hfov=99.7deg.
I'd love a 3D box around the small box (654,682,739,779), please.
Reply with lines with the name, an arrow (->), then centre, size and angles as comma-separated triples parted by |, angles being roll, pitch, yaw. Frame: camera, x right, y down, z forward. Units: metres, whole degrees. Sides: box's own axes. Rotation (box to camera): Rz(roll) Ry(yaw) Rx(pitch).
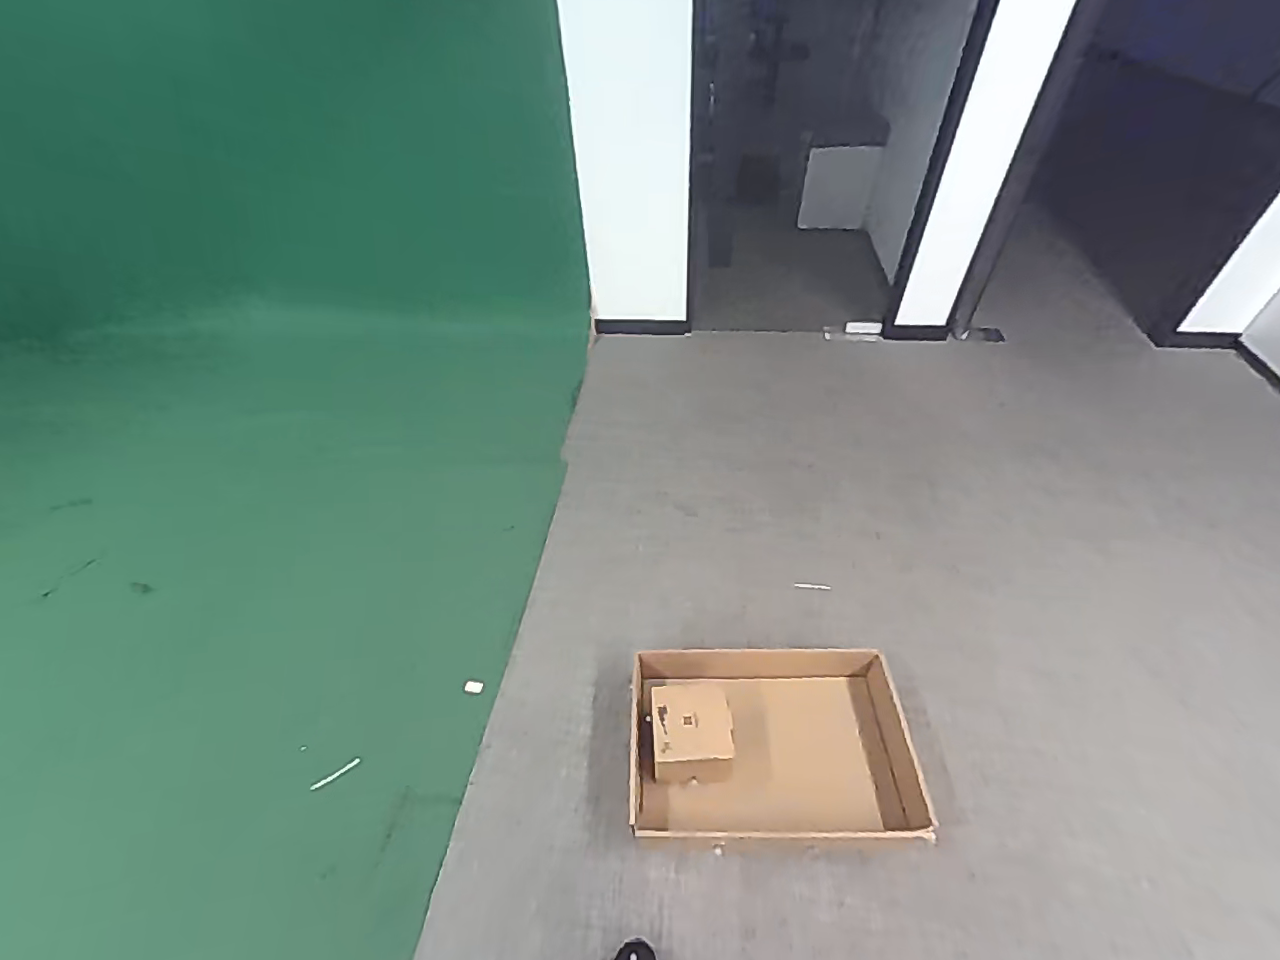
small box -> 0.125, 0.590, 1.270 | 0.179, 0.176, 0.168 | -2, 46, 0
